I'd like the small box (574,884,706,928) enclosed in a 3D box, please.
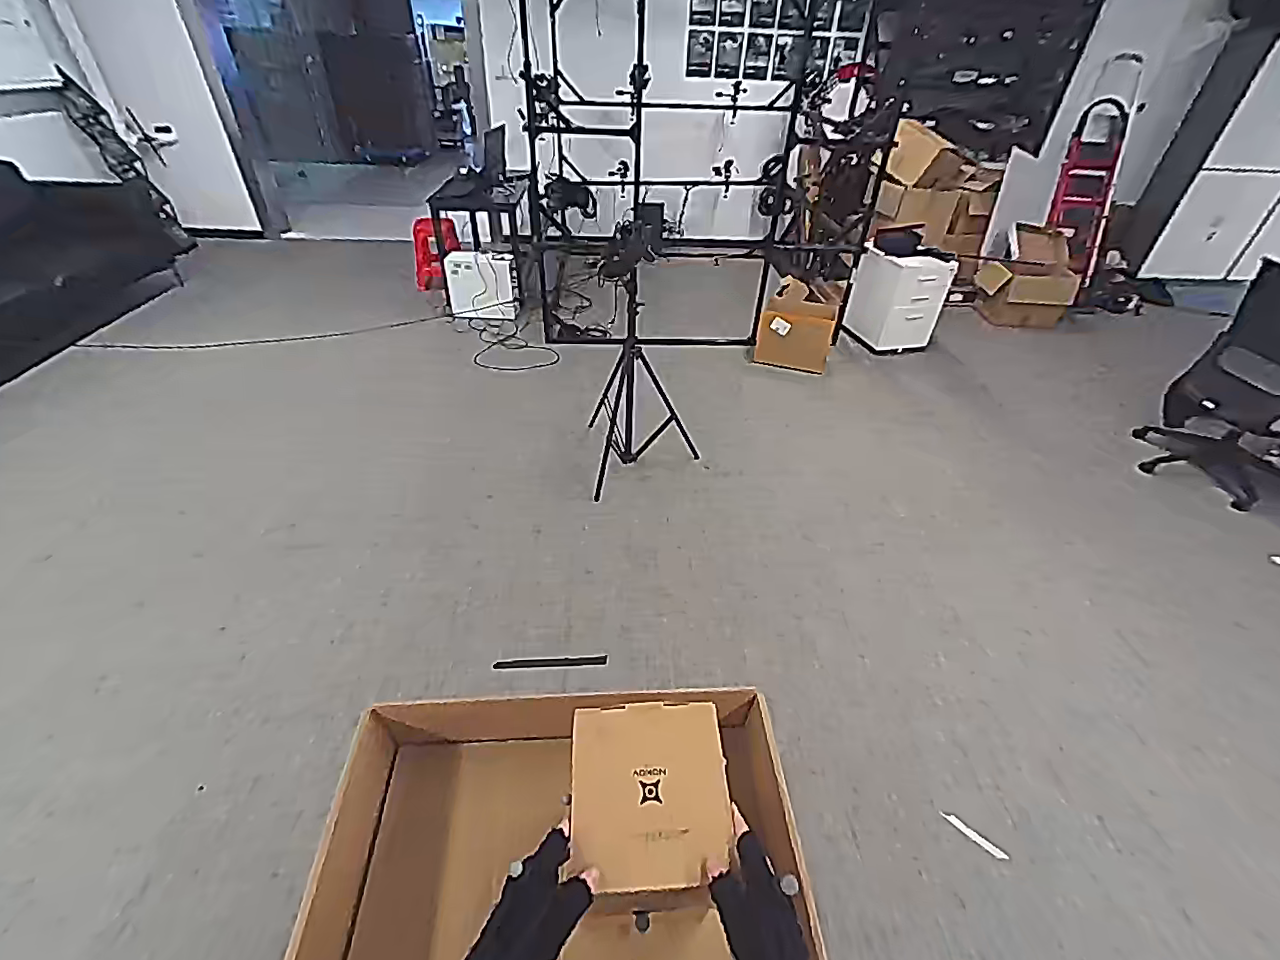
[{"bbox_3d":[0.002,0.499,0.748,0.179,0.176,0.168,-2,43,-3],"label":"small box"}]

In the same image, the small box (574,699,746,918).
[{"bbox_3d":[0.013,0.375,0.619,0.168,0.176,0.179,-3,46,-3],"label":"small box"}]
